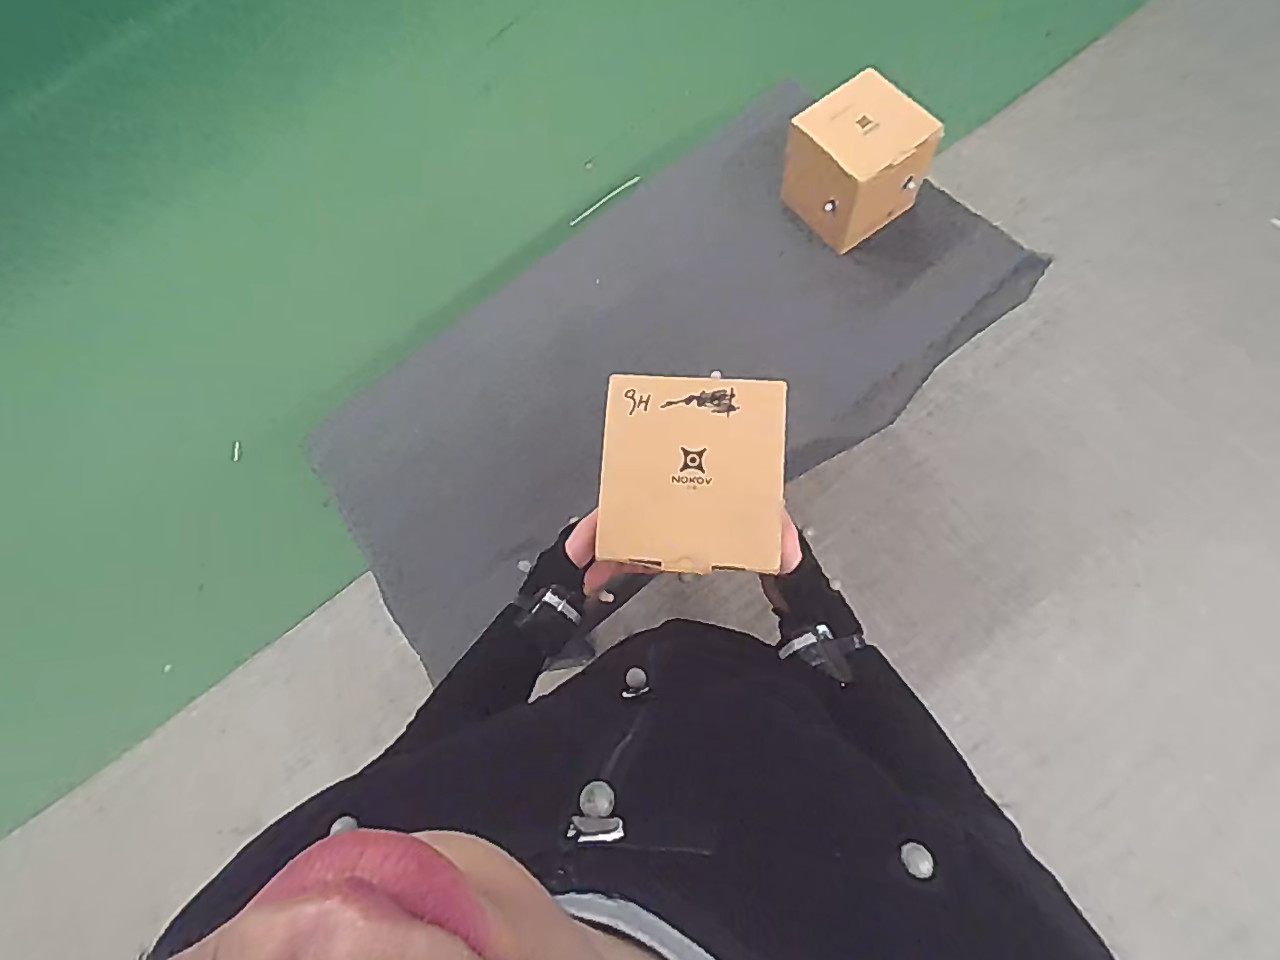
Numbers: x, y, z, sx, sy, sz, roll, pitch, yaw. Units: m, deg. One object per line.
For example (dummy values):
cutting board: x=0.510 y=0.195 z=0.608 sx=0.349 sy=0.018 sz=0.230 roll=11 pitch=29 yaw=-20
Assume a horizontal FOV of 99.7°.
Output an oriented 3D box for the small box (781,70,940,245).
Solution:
small box: x=0.366 y=-0.541 z=0.934 sx=0.168 sy=0.176 sz=0.179 roll=-35 pitch=70 yaw=-4

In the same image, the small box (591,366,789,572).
small box: x=0.051 y=-0.003 z=0.557 sx=0.168 sy=0.176 sz=0.179 roll=4 pitch=82 yaw=5
